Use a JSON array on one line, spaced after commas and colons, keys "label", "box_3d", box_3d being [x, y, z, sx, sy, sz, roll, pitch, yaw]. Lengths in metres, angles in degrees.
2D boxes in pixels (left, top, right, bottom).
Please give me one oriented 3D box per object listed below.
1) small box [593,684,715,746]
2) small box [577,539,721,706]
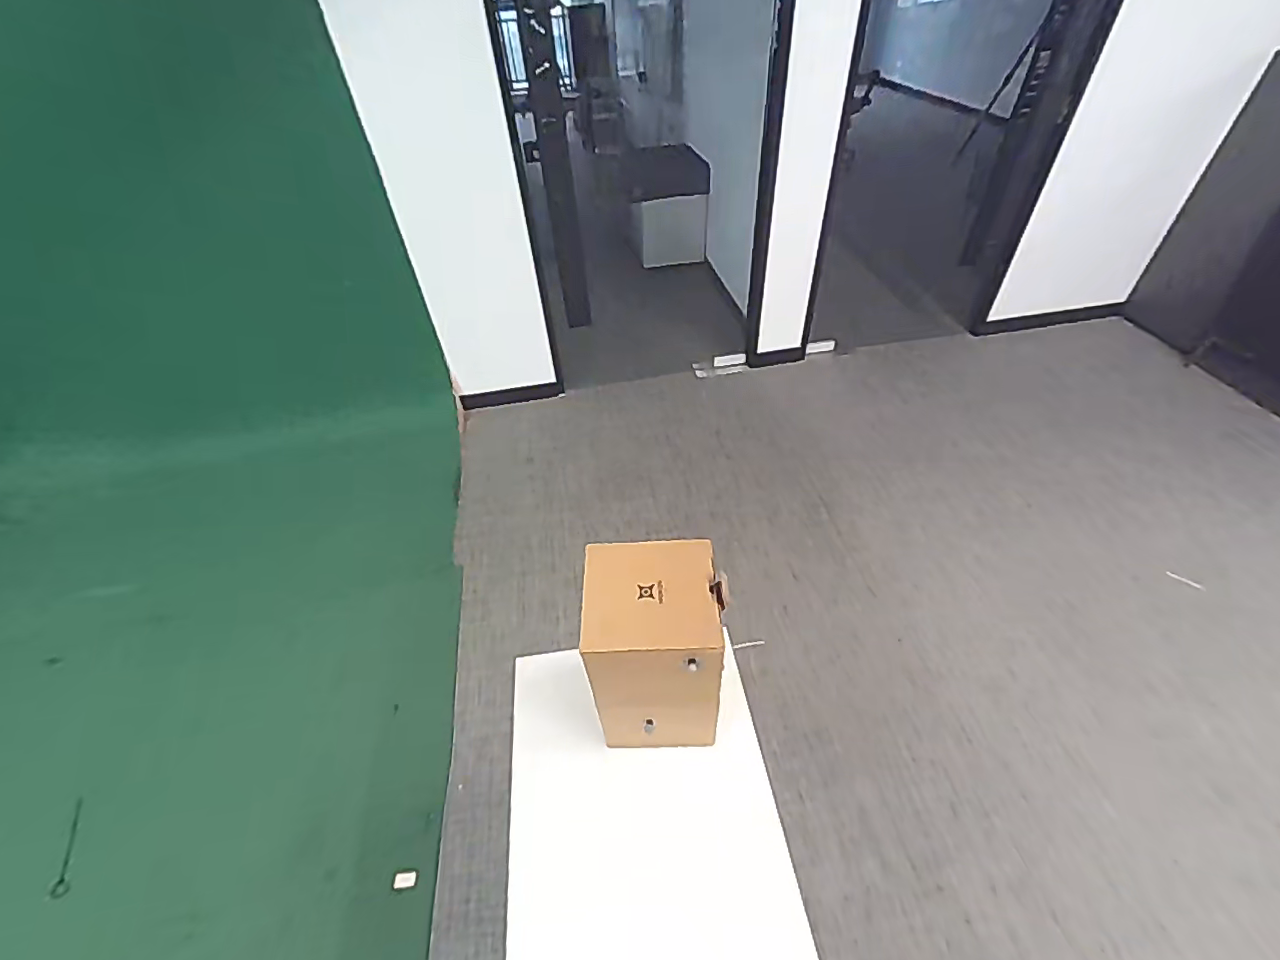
[{"label": "small box", "box_3d": [0.026, 0.314, 0.870, 0.179, 0.176, 0.168, -2, 45, 2]}, {"label": "small box", "box_3d": [0.014, 0.200, 0.753, 0.179, 0.176, 0.168, -2, 44, 1]}]
